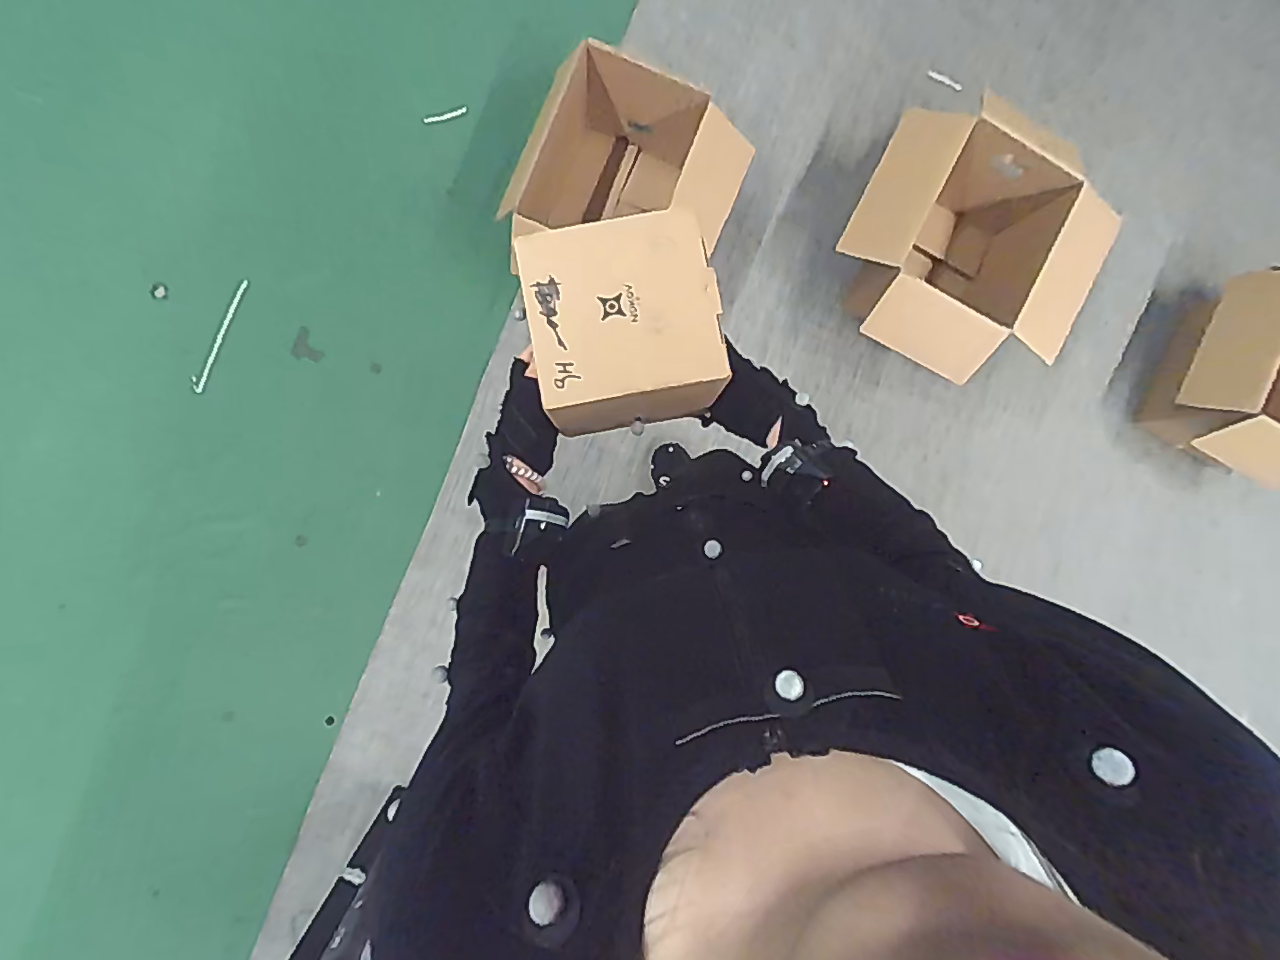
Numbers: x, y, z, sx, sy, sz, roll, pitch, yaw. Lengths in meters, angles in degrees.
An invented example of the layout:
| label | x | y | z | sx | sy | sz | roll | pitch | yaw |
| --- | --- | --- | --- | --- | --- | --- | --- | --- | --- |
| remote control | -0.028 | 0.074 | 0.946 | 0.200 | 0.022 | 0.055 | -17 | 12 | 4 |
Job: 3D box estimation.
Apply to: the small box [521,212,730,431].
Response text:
| label | x | y | z | sx | sy | sz | roll | pitch | yaw |
| --- | --- | --- | --- | --- | --- | --- | --- | --- | --- |
| small box | -0.017 | -0.155 | 0.579 | 0.179 | 0.176 | 0.168 | -9 | 85 | -3 |
